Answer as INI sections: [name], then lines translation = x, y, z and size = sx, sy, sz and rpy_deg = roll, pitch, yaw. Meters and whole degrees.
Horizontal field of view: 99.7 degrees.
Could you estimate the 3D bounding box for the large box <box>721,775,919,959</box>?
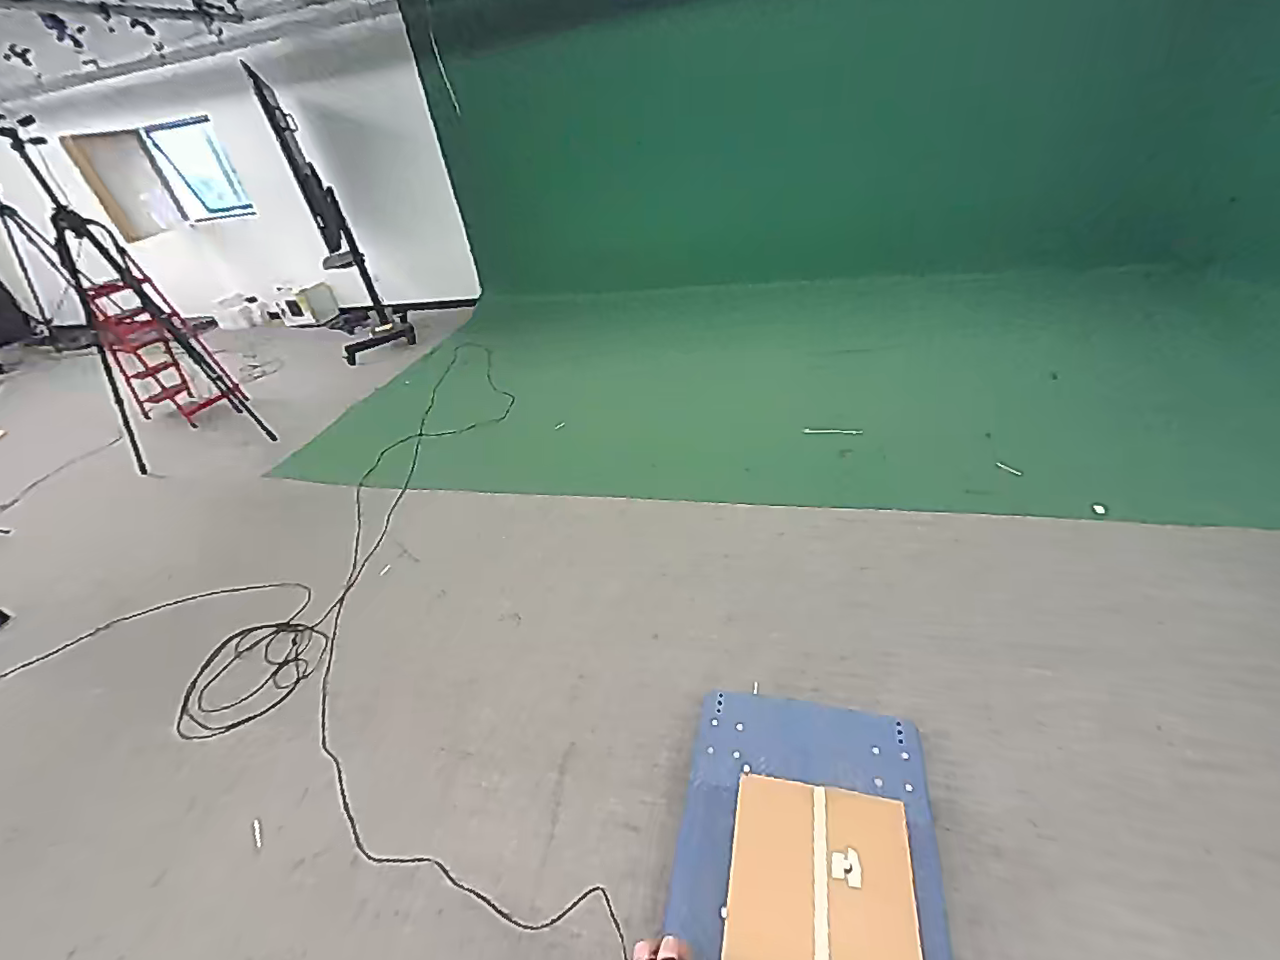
[large box]
translation = 0.330, 0.861, 1.028
size = 0.320, 0.320, 0.408
rpy_deg = 3, 36, 16
